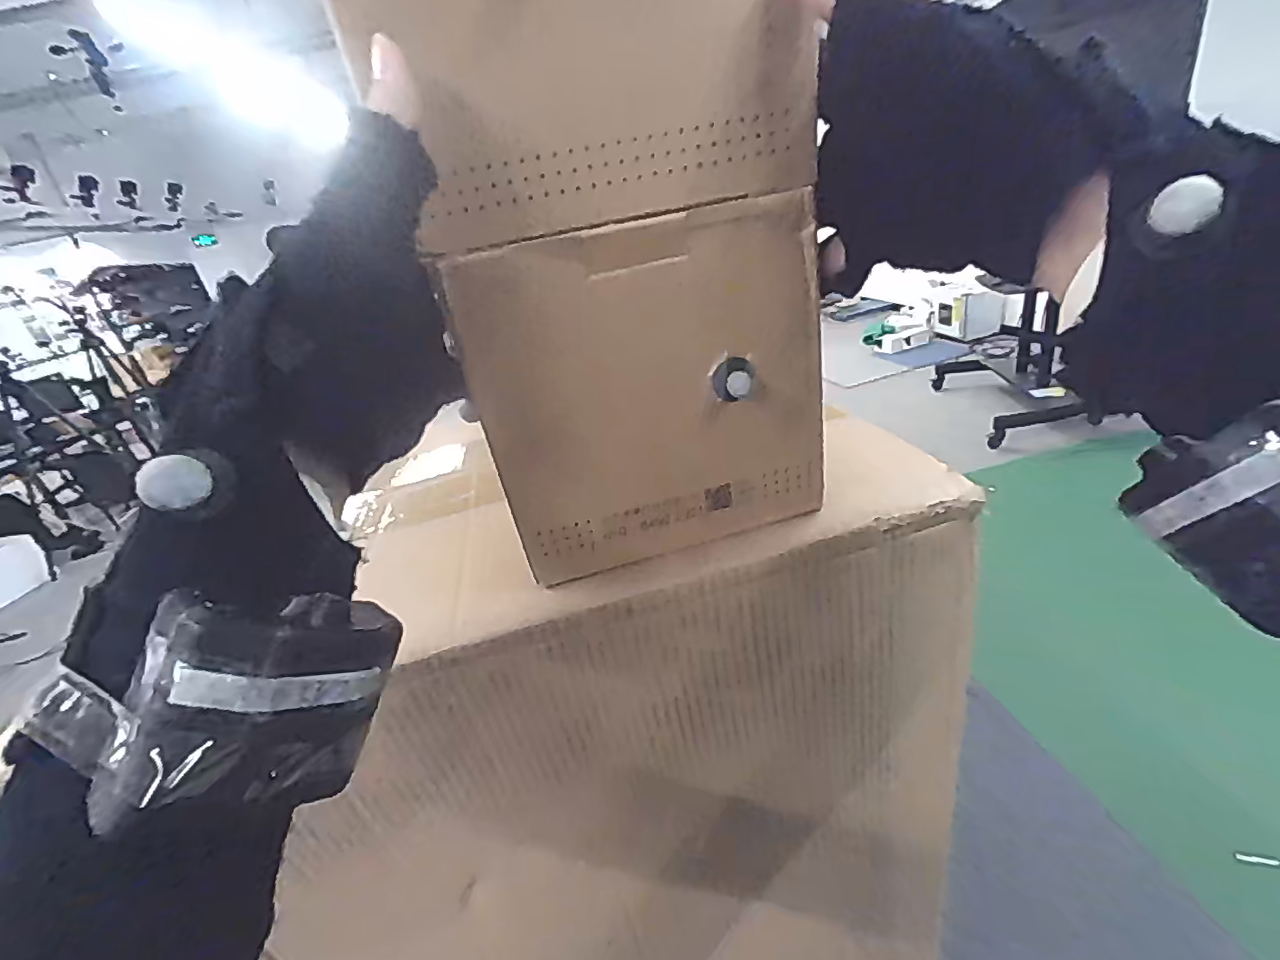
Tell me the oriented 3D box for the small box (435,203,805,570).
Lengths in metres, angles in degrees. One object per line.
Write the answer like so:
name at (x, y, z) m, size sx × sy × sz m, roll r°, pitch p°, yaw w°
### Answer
small box at (-0.009, -0.062, 0.336) m, size 0.168 × 0.176 × 0.179 m, roll -14°, pitch 27°, yaw -7°

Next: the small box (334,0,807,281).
small box at (-0.035, -0.204, 0.257) m, size 0.179 × 0.176 × 0.168 m, roll -14°, pitch 29°, yaw -10°
